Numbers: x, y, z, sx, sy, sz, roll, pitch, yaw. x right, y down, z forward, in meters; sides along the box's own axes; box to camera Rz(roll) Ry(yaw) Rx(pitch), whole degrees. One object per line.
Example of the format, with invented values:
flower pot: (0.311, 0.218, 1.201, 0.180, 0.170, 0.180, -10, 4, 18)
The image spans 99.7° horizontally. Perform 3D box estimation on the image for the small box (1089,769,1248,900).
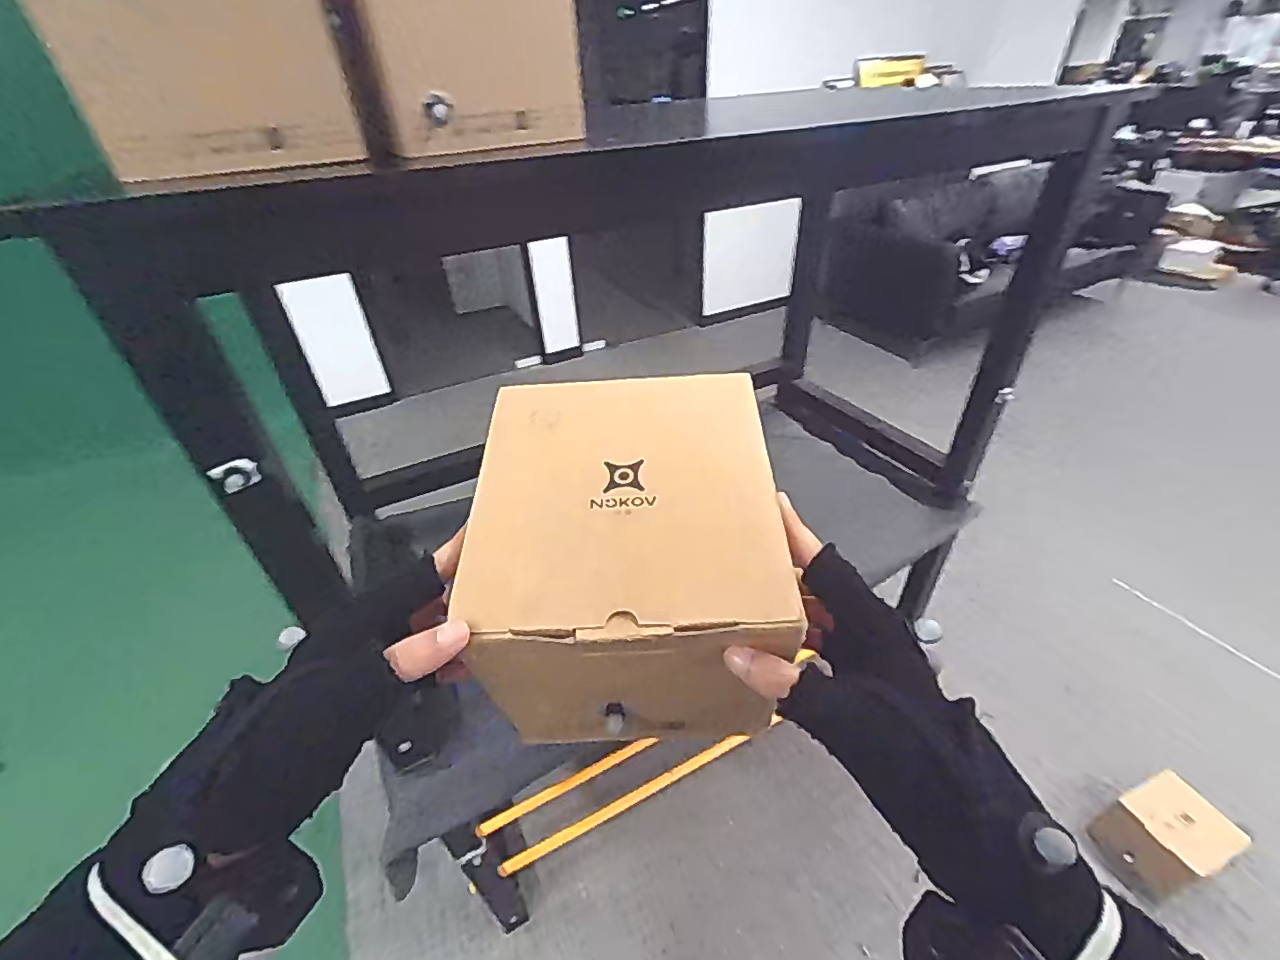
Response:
small box: (1.176, 0.800, 1.222, 0.179, 0.176, 0.168, -16, 38, -15)
